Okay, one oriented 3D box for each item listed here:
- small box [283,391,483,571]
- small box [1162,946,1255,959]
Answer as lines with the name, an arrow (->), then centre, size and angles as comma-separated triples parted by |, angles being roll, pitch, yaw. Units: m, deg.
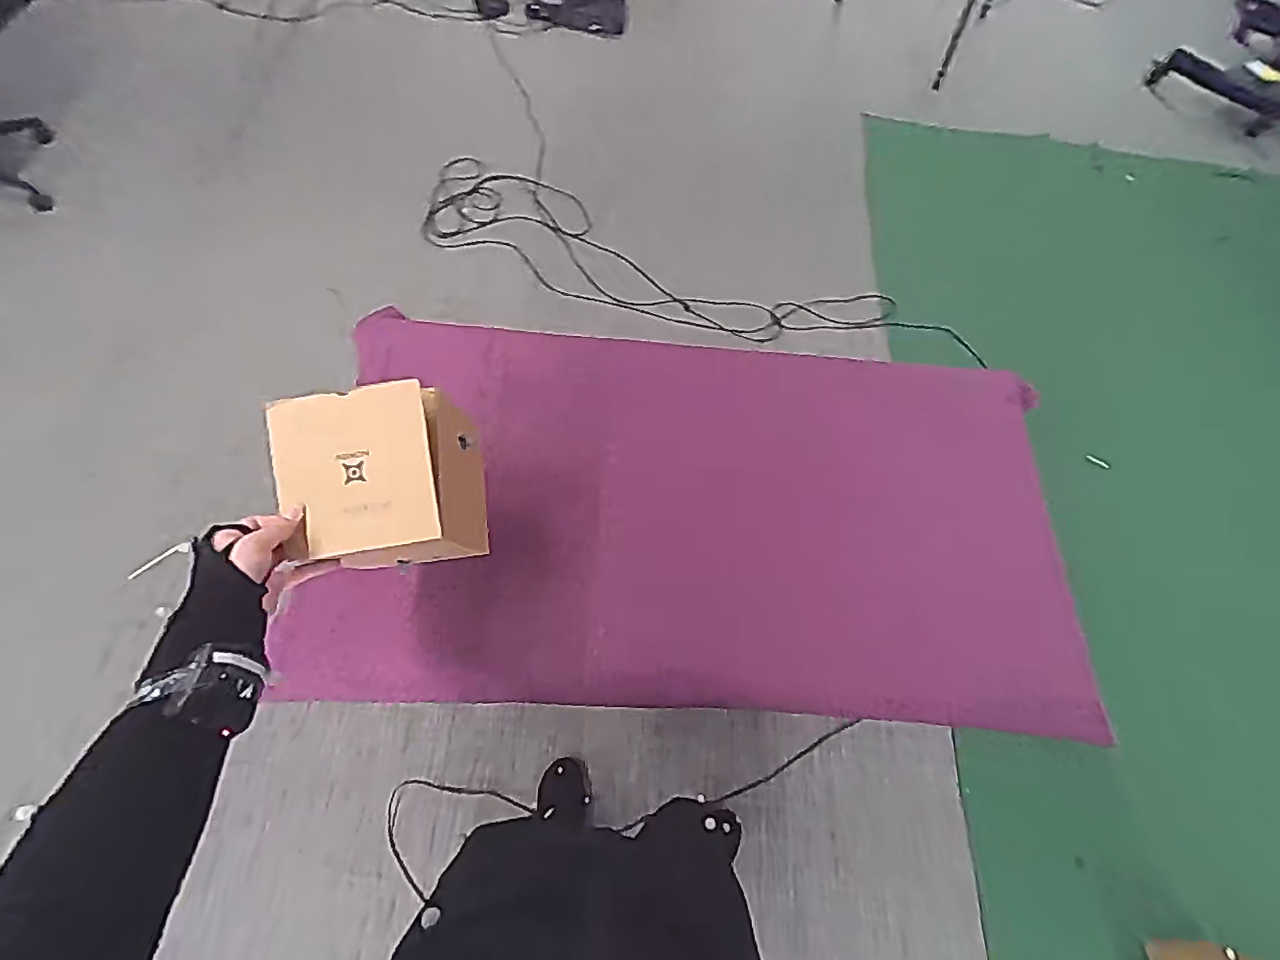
small box -> -0.302, 0.010, 0.668 | 0.168, 0.176, 0.179 | -7, 76, 0
small box -> 1.320, 1.163, 1.193 | 0.179, 0.176, 0.168 | 3, 65, -3
